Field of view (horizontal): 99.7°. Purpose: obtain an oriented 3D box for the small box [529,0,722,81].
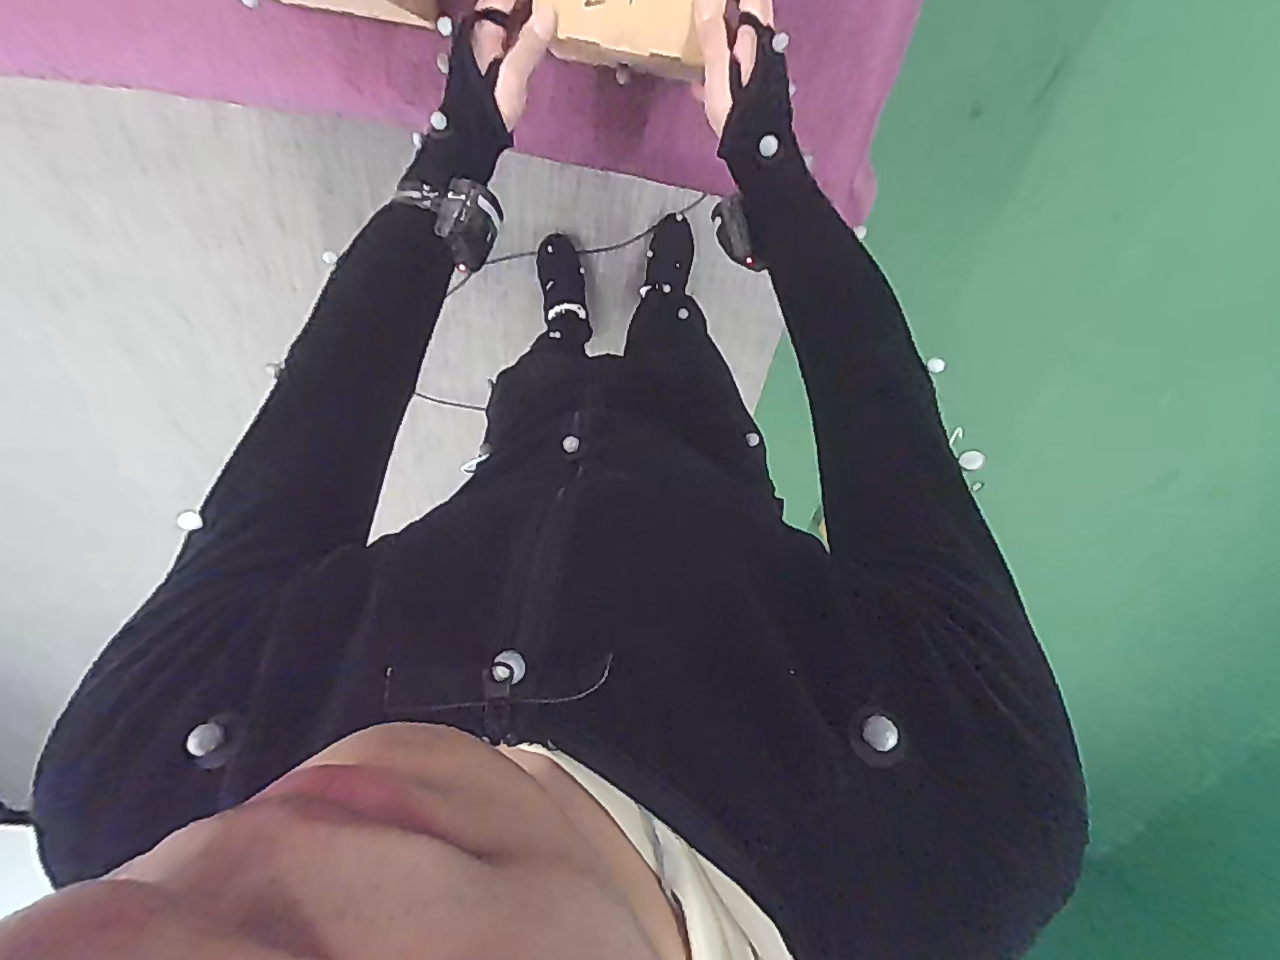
[{"bbox_3d":[-0.005,-0.496,0.501,0.168,0.176,0.179,7,123,-5],"label":"small box"}]
